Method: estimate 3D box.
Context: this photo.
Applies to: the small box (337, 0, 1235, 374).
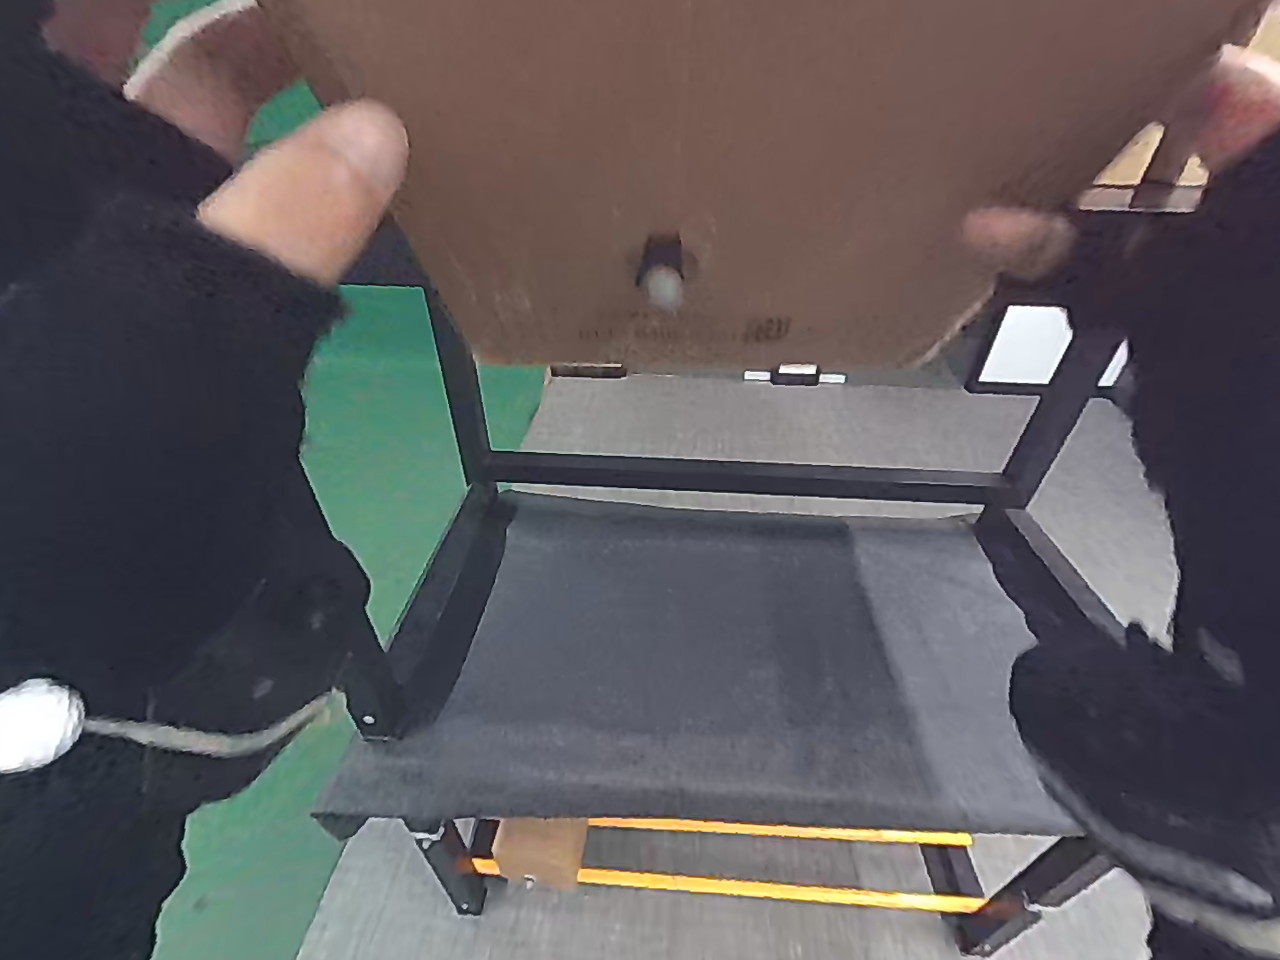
[{"bbox_3d":[0.021,-0.150,0.160,0.168,0.176,0.179,0,73,1],"label":"small box"}]
